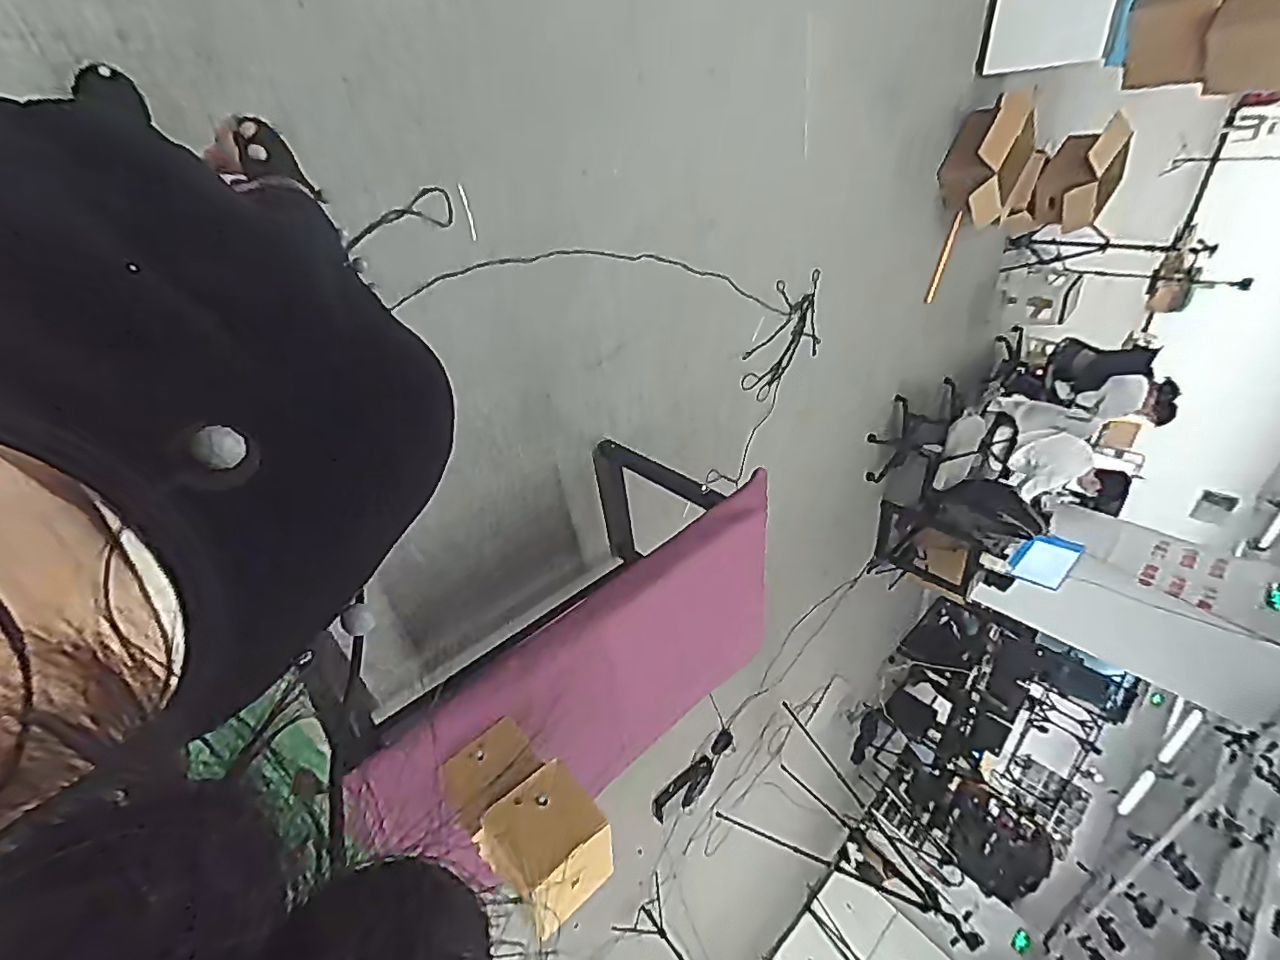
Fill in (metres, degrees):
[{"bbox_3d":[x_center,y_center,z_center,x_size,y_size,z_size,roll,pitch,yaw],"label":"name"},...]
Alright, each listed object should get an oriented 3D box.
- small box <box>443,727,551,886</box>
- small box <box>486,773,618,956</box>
[{"bbox_3d":[-0.273,0.644,1.084,0.179,0.176,0.168,-31,131,-30],"label":"small box"},{"bbox_3d":[-0.156,0.678,0.972,0.168,0.176,0.179,-24,125,-35],"label":"small box"}]
